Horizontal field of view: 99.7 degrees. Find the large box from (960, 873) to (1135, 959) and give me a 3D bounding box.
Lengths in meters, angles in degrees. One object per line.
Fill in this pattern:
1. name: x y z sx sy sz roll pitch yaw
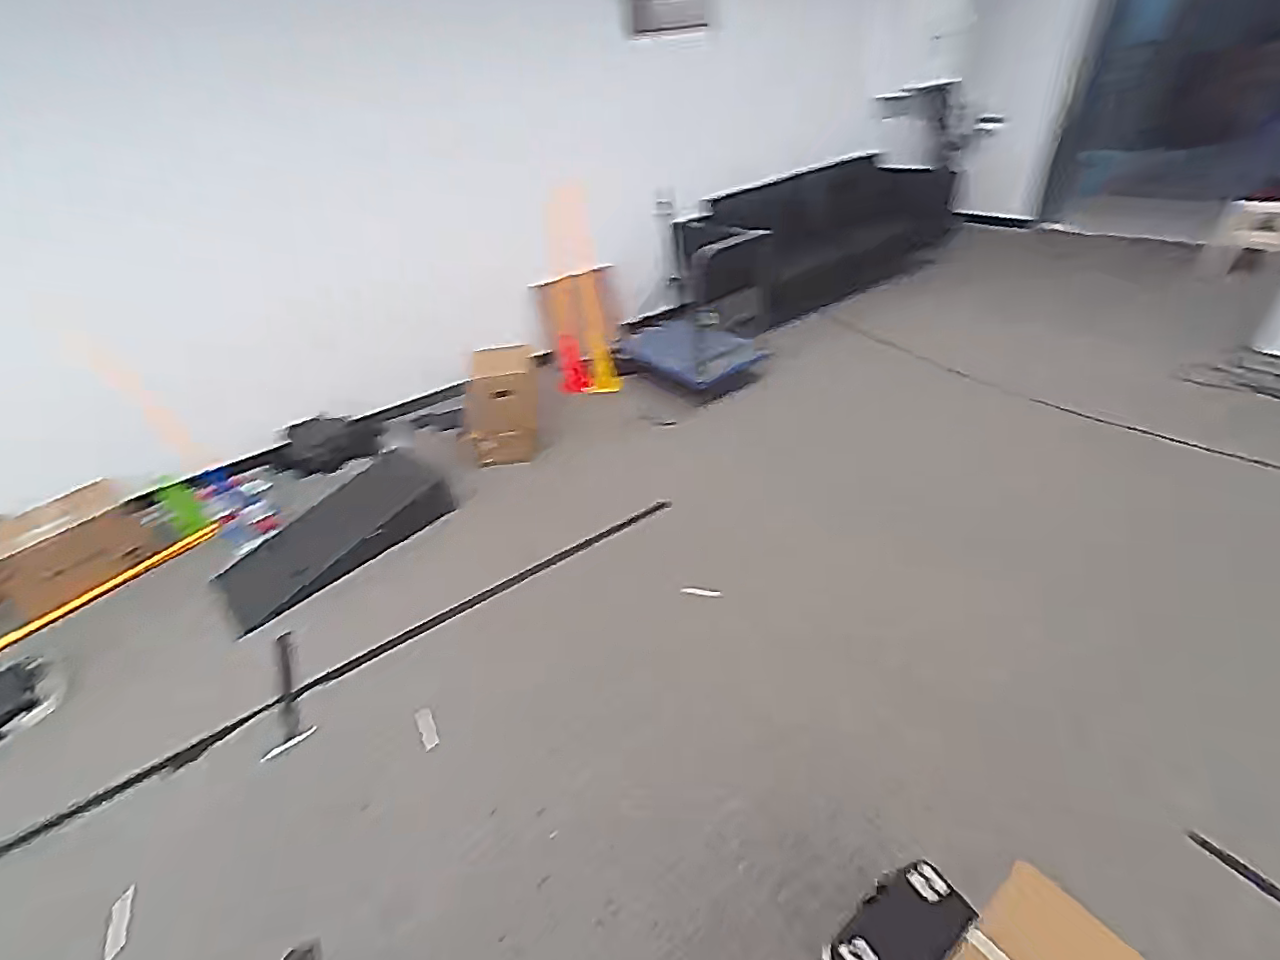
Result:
1. large box: 0.614 0.867 0.717 0.320 0.320 0.408 -27 38 -24
